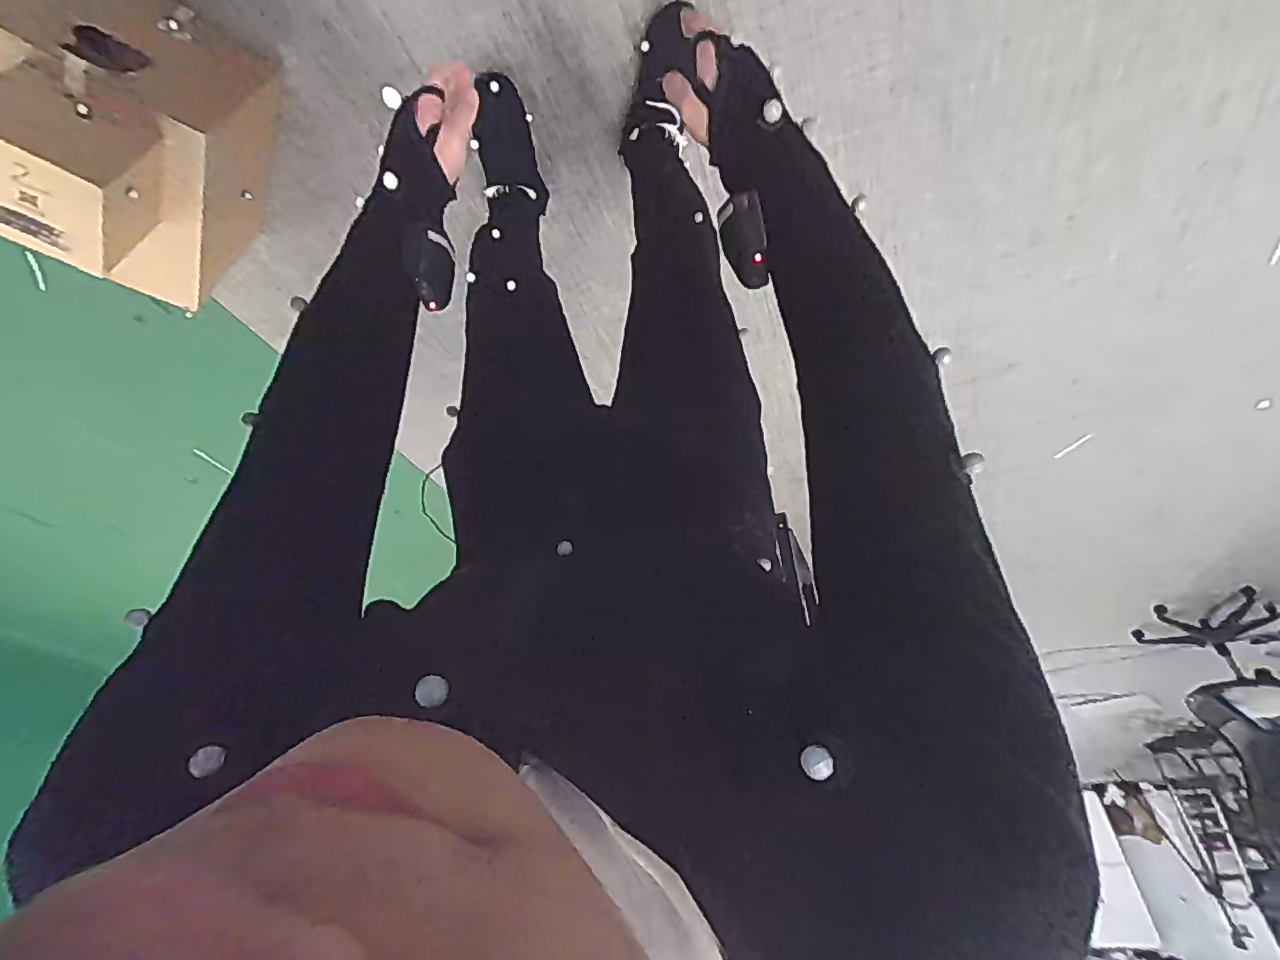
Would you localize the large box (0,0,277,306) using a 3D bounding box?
[{"bbox_3d":[-0.907,-0.619,0.987,0.320,0.320,0.408,23,138,-26],"label":"large box"}]
